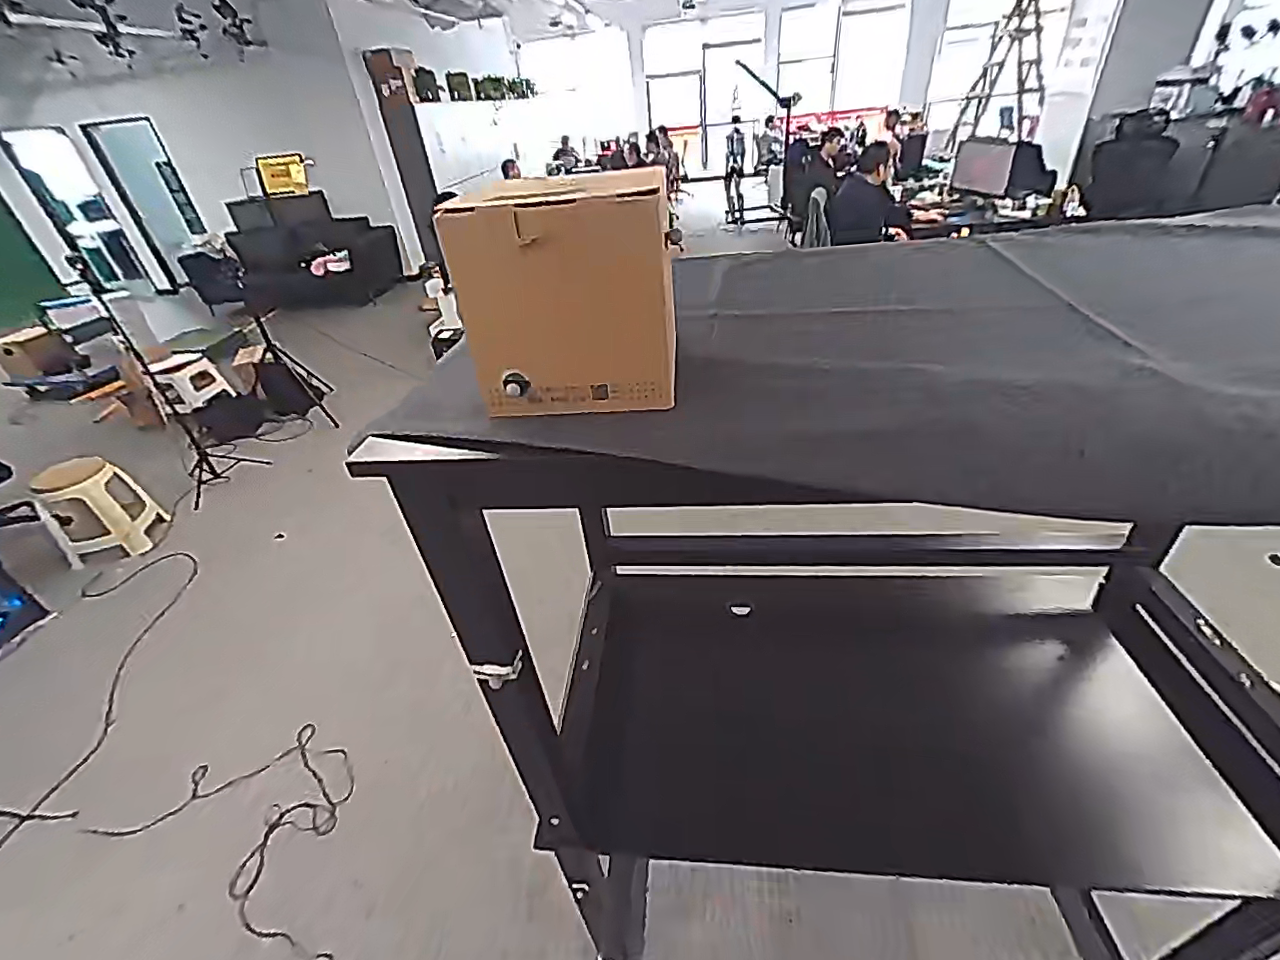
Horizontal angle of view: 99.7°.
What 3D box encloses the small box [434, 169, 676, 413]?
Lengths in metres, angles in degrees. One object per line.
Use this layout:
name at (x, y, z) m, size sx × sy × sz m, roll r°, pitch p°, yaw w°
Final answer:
small box at (-0.054, -0.168, 0.489) m, size 0.168 × 0.176 × 0.179 m, roll -2°, pitch 35°, yaw 6°
